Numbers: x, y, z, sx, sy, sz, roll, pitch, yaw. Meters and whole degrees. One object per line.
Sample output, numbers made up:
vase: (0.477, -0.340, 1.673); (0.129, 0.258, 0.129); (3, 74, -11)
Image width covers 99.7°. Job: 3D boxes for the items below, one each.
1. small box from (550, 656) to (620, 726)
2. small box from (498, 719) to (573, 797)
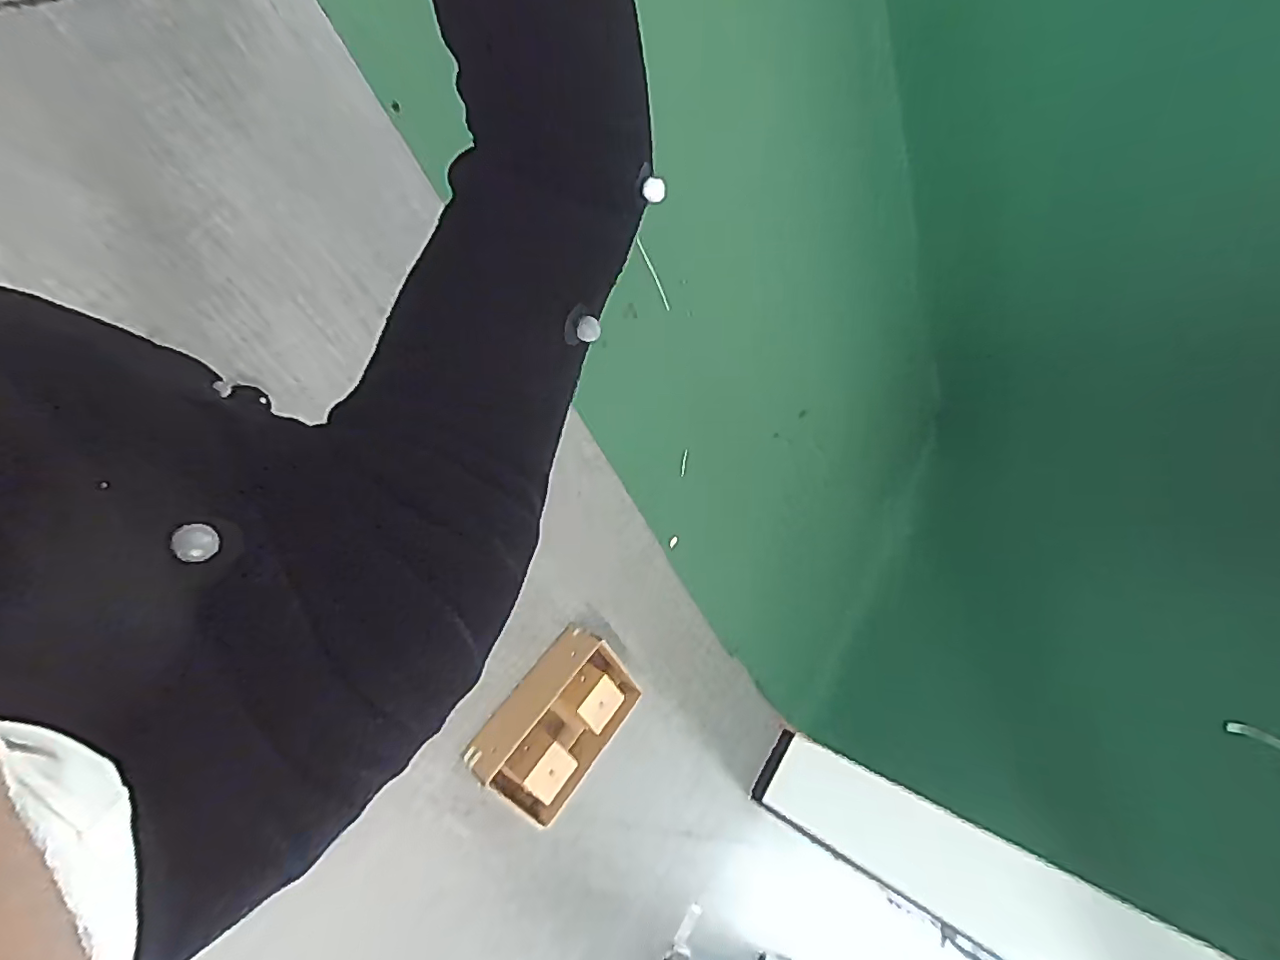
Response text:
small box: (-0.217, 0.810, 2.099); (0.168, 0.176, 0.179); (-48, 128, -26)
small box: (-0.384, 1.003, 1.972); (0.168, 0.176, 0.179); (-47, 127, -27)
